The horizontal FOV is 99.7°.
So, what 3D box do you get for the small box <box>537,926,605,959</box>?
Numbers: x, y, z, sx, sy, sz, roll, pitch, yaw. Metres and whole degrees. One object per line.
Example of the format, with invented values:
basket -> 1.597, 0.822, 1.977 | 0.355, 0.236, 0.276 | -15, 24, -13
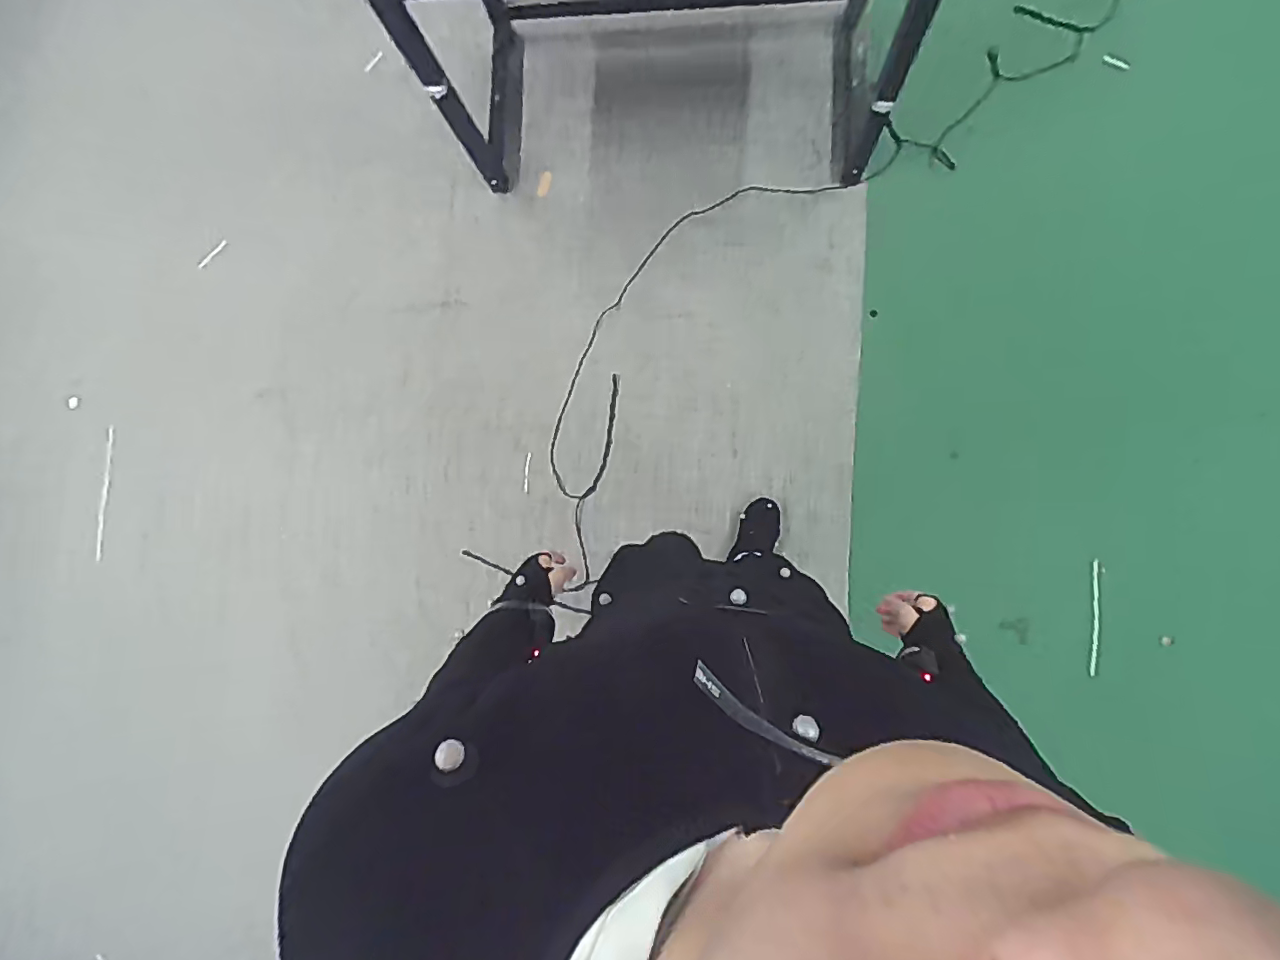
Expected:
small box -> -0.197, 1.374, 1.481 | 0.179, 0.176, 0.168 | 3, 85, 8
